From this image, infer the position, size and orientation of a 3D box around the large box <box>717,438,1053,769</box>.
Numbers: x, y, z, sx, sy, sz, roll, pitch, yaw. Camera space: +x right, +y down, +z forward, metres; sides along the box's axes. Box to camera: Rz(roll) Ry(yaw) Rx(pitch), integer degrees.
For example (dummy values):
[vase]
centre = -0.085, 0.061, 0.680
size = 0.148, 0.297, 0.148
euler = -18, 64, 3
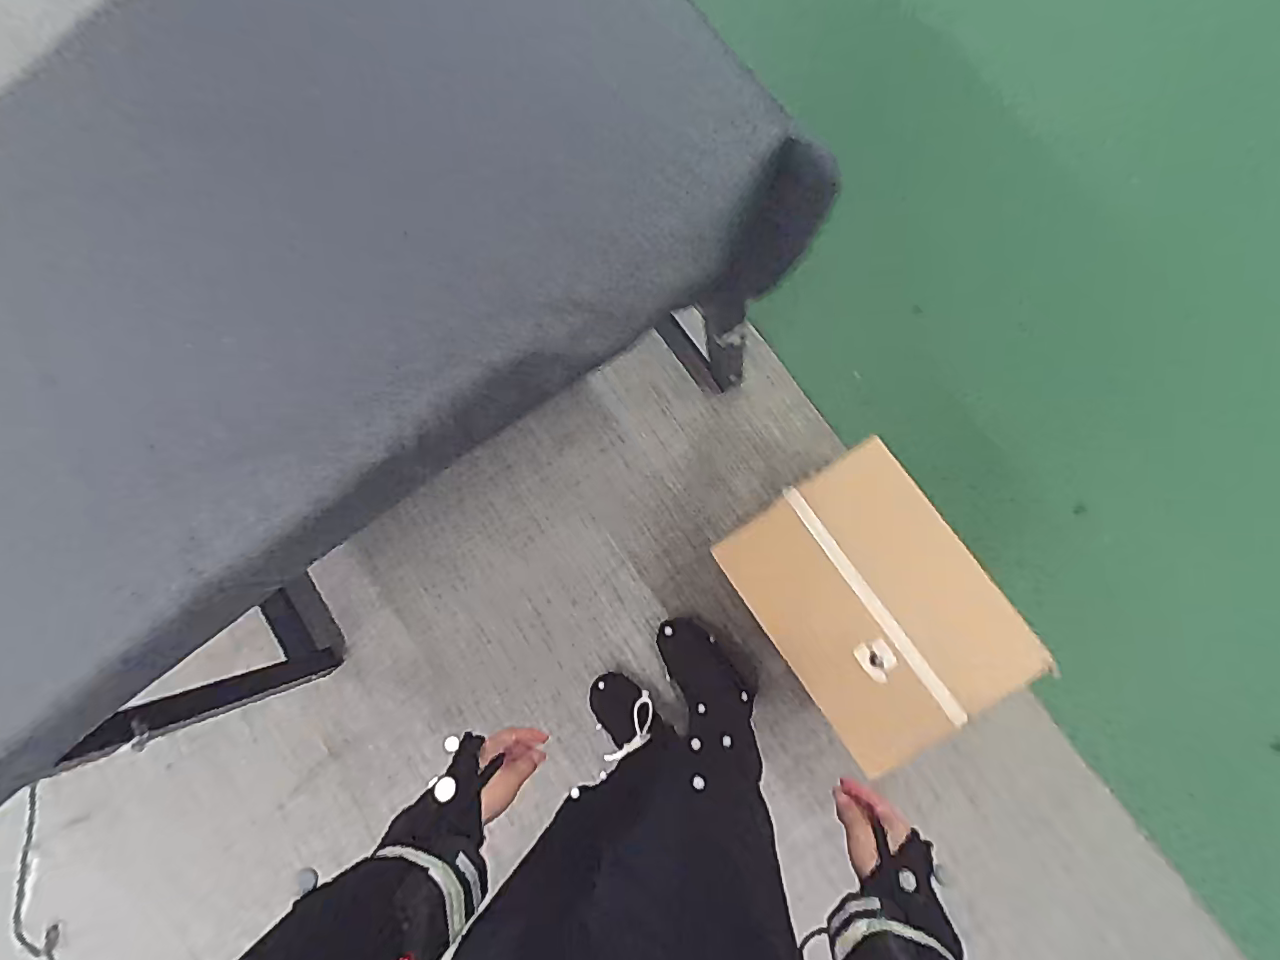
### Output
[large box]
centre = 0.373, 0.191, 0.954
size = 0.320, 0.320, 0.408
euler = -36, 80, 5
